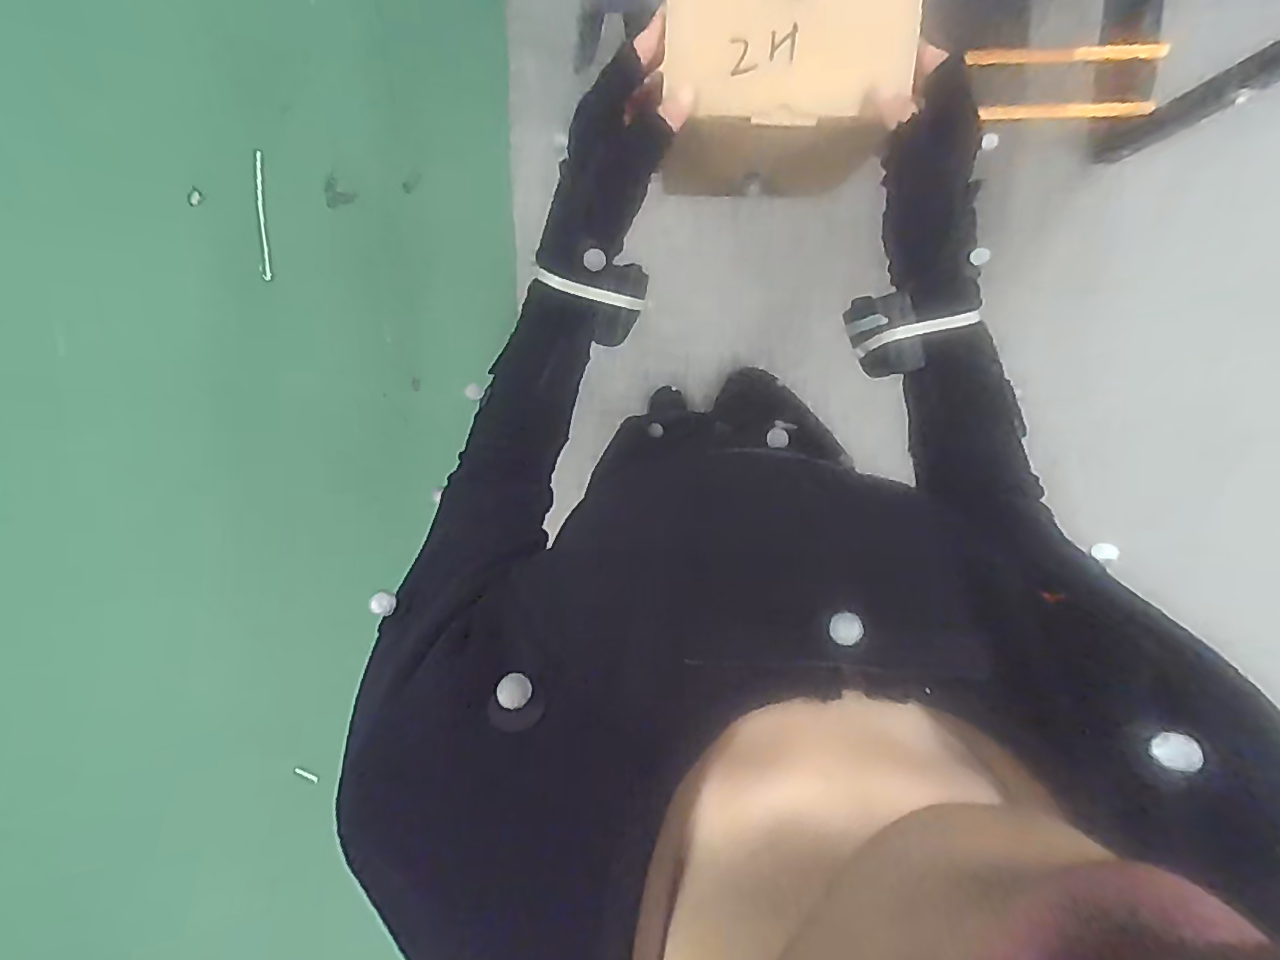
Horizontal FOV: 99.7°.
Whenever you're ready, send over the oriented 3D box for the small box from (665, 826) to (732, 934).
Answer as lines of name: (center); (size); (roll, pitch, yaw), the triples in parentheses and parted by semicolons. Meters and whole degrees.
small box: (0.164, 1.153, 1.566); (0.168, 0.176, 0.179); (7, 98, 1)
